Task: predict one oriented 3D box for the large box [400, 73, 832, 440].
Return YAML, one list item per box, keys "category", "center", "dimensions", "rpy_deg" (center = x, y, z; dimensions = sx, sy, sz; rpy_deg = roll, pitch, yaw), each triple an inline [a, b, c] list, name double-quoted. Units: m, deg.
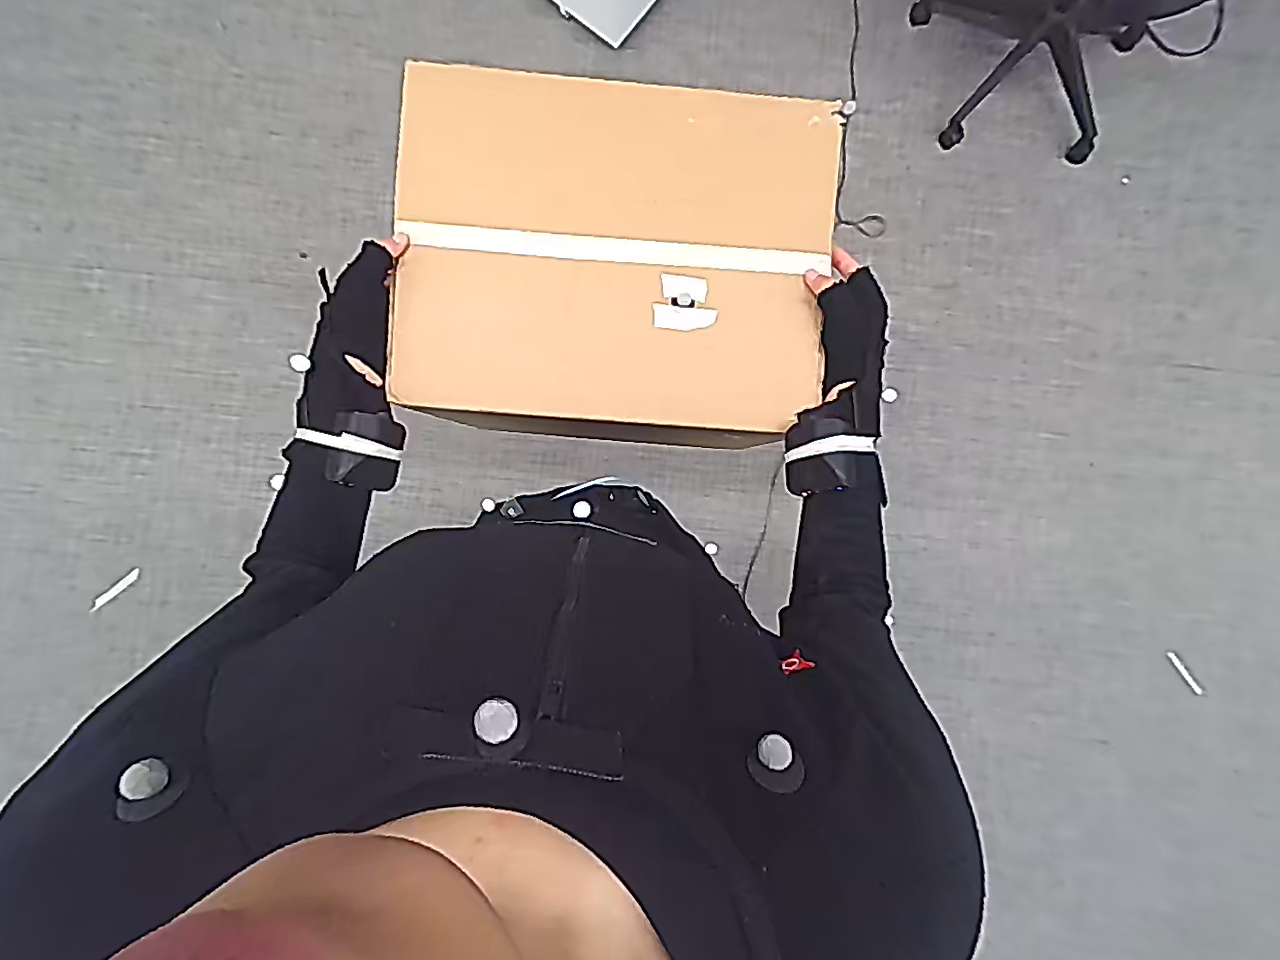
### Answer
- category: "large box"
  center: [-0.029, -0.221, 0.664]
  dimensions: [0.408, 0.320, 0.320]
  rpy_deg: [4, 92, -3]
